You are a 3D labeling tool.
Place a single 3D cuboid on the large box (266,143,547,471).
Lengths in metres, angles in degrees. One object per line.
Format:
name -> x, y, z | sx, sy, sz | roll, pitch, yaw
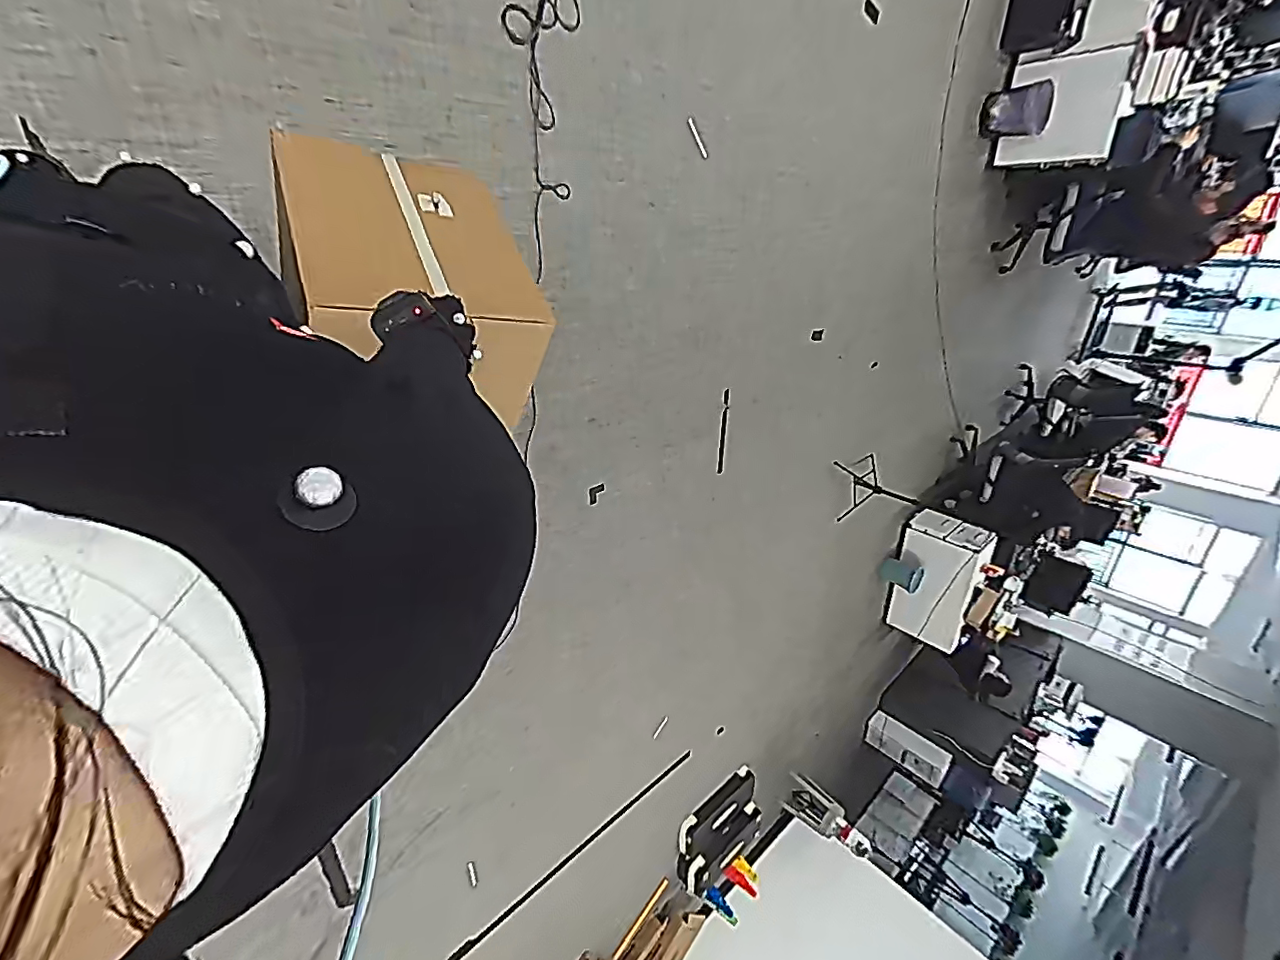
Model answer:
large box -> -0.405, -0.273, 0.901 | 0.320, 0.408, 0.320 | -7, 145, -37
